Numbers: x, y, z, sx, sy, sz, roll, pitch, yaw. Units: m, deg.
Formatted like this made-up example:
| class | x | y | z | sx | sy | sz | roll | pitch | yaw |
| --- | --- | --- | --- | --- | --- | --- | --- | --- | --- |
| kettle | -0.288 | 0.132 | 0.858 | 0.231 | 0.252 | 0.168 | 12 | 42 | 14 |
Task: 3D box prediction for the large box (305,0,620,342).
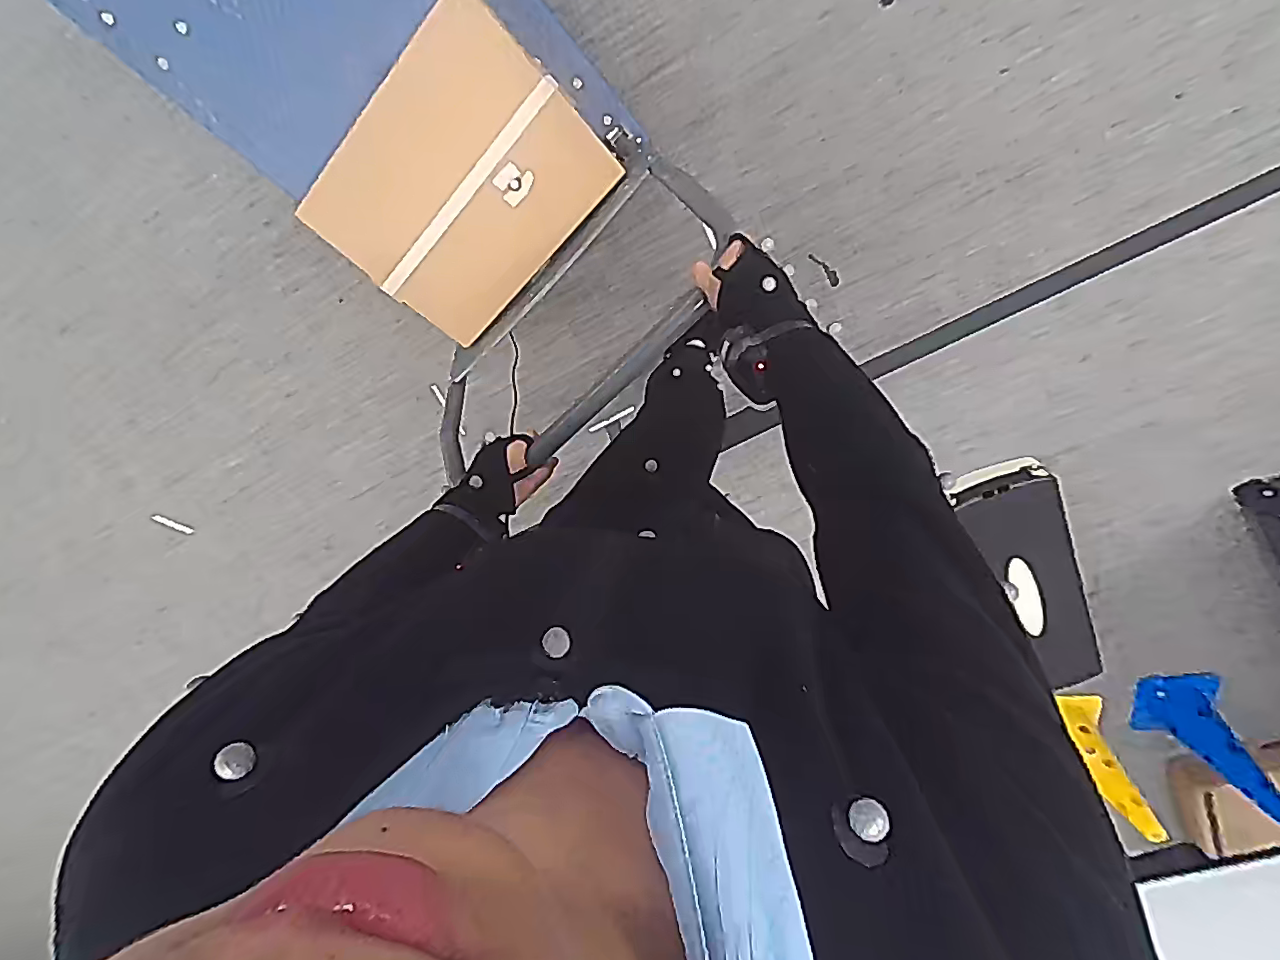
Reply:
| class | x | y | z | sx | sy | sz | roll | pitch | yaw |
| --- | --- | --- | --- | --- | --- | --- | --- | --- | --- |
| large box | -0.295 | -0.532 | 0.955 | 0.408 | 0.320 | 0.320 | -42 | 123 | 18 |
